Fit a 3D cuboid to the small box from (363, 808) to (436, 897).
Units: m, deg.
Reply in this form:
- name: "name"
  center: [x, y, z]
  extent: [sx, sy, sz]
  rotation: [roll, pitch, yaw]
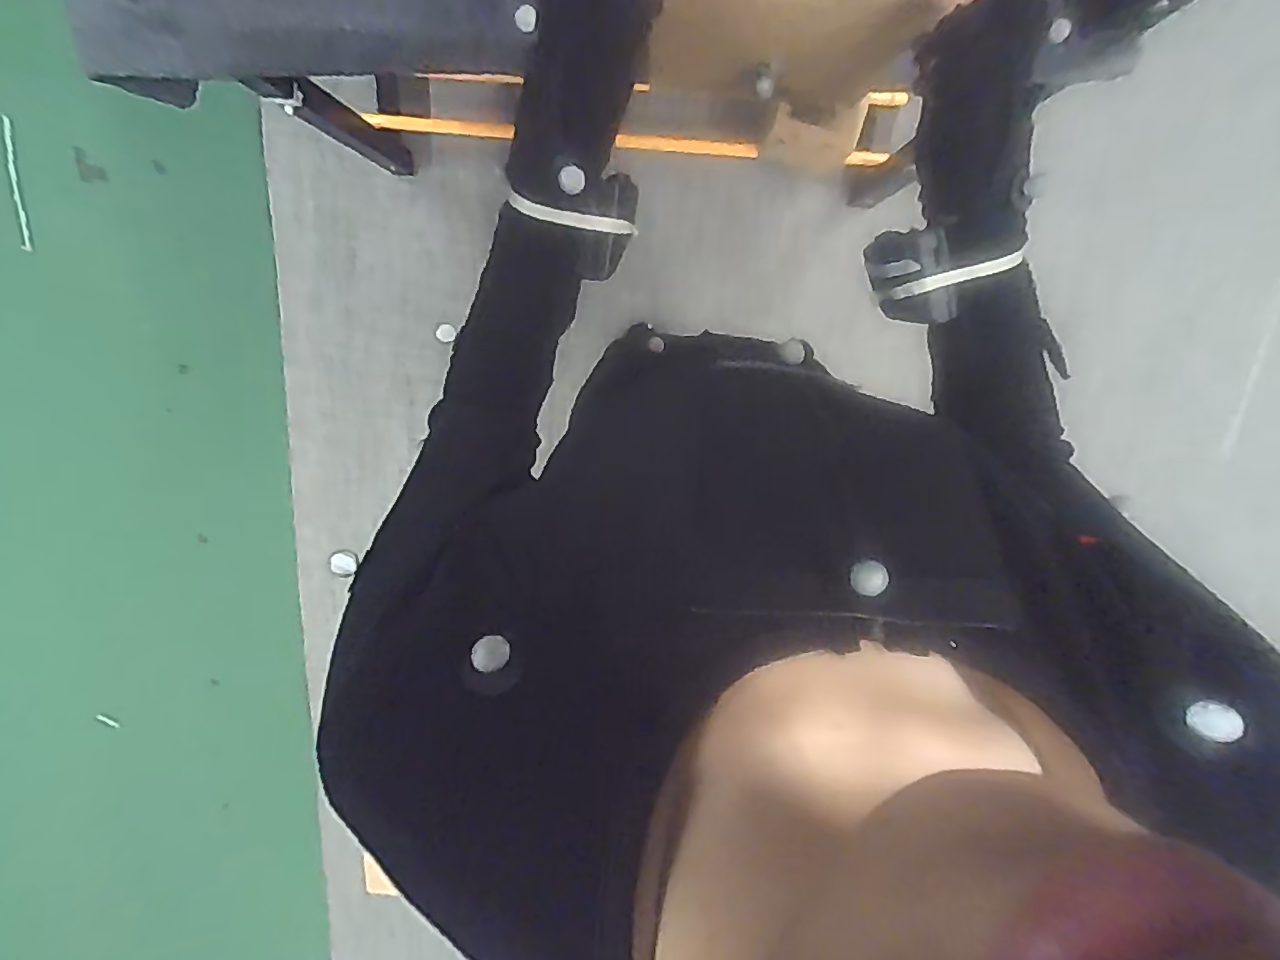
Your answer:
- name: "small box"
  center: [-0.782, 1.211, 1.769]
  extent: [0.168, 0.176, 0.179]
  rotation: [4, 105, 2]
